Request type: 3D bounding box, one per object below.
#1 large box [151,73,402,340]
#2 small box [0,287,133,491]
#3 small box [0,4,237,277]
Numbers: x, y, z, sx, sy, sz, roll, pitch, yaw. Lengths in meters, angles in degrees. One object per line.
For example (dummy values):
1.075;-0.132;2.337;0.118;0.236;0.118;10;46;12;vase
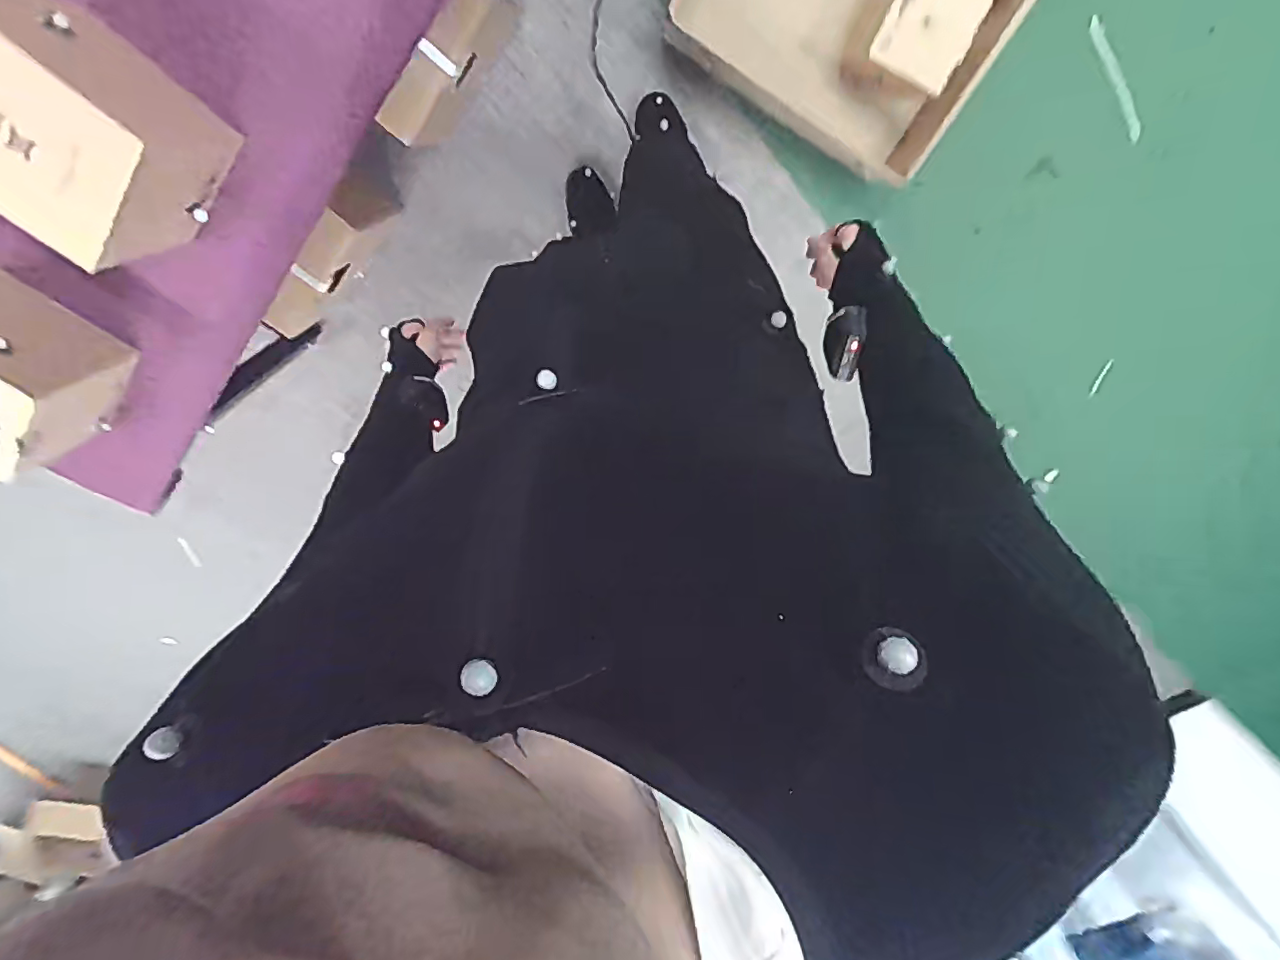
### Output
-0.824;-0.592;1.198;0.408;0.320;0.320;37;114;-23;large box
-0.837;-0.125;0.711;0.179;0.176;0.168;37;115;-22;small box
-0.590;-0.352;0.572;0.179;0.176;0.168;39;115;-24;small box
